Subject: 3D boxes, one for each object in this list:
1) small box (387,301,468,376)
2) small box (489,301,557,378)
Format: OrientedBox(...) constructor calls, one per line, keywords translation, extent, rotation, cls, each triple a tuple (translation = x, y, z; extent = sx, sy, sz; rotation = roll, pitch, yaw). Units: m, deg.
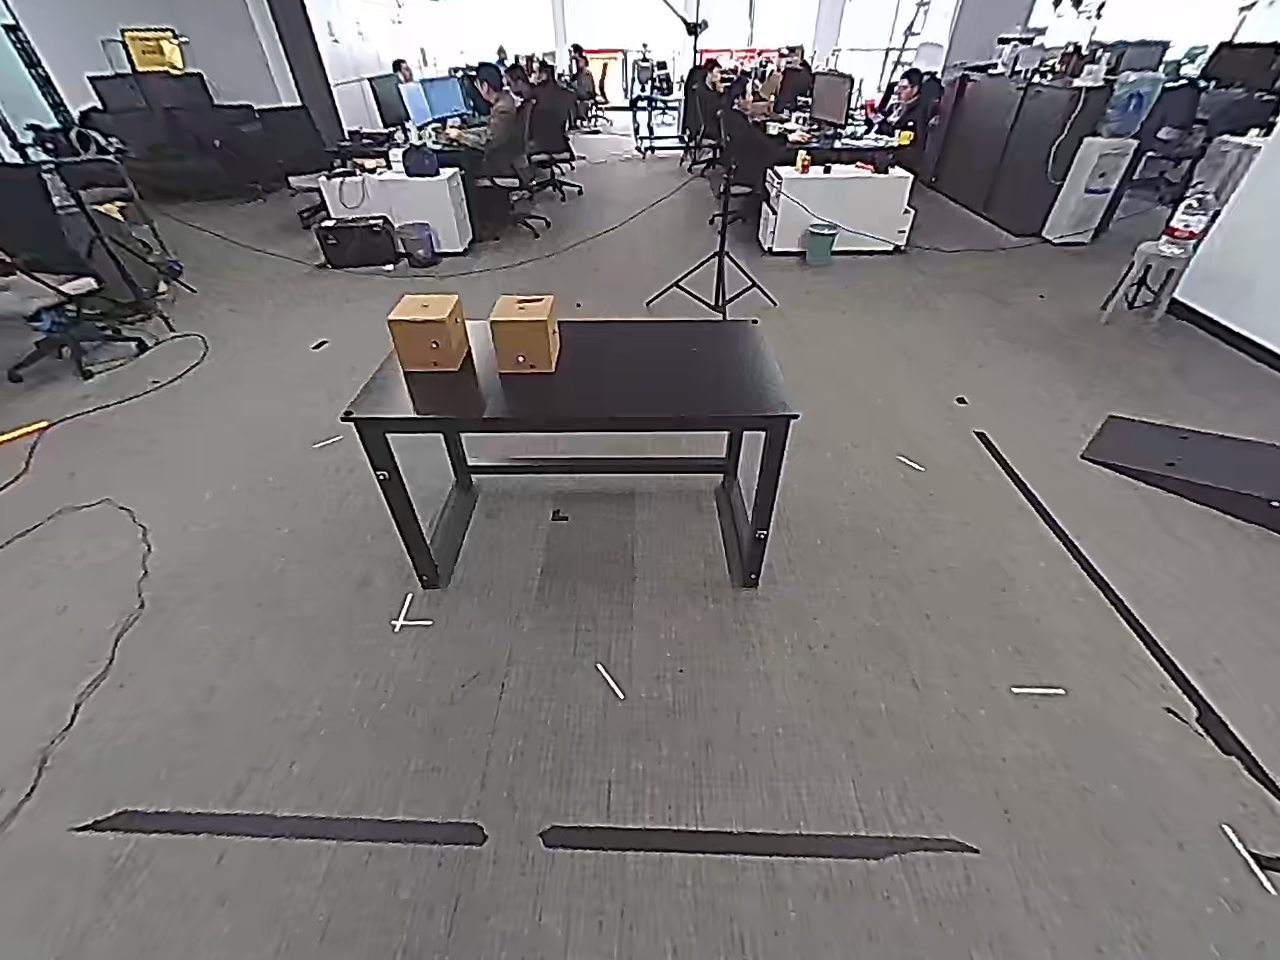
OrientedBox(translation=(-0.630, -0.426, 1.629), extent=(0.168, 0.176, 0.179), rotation=(0, 39, -2), cls="small box")
OrientedBox(translation=(-0.343, -0.422, 1.620), extent=(0.168, 0.176, 0.179), rotation=(-1, 41, 0), cls="small box")
